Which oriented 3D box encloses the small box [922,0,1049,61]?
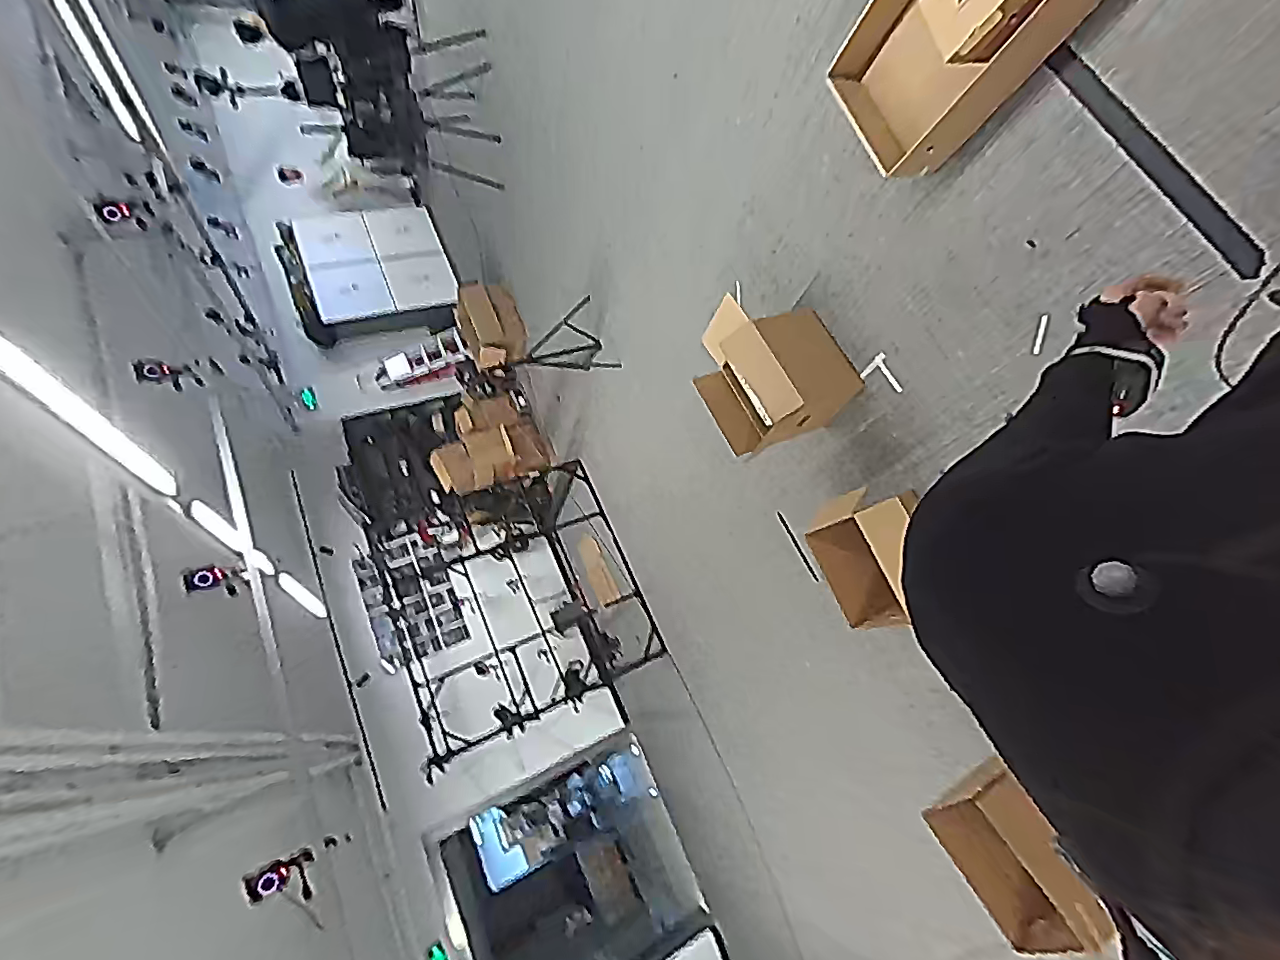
[{"bbox_3d":[0.799,-1.117,1.245,0.168,0.176,0.179,-27,83,67],"label":"small box"}]
